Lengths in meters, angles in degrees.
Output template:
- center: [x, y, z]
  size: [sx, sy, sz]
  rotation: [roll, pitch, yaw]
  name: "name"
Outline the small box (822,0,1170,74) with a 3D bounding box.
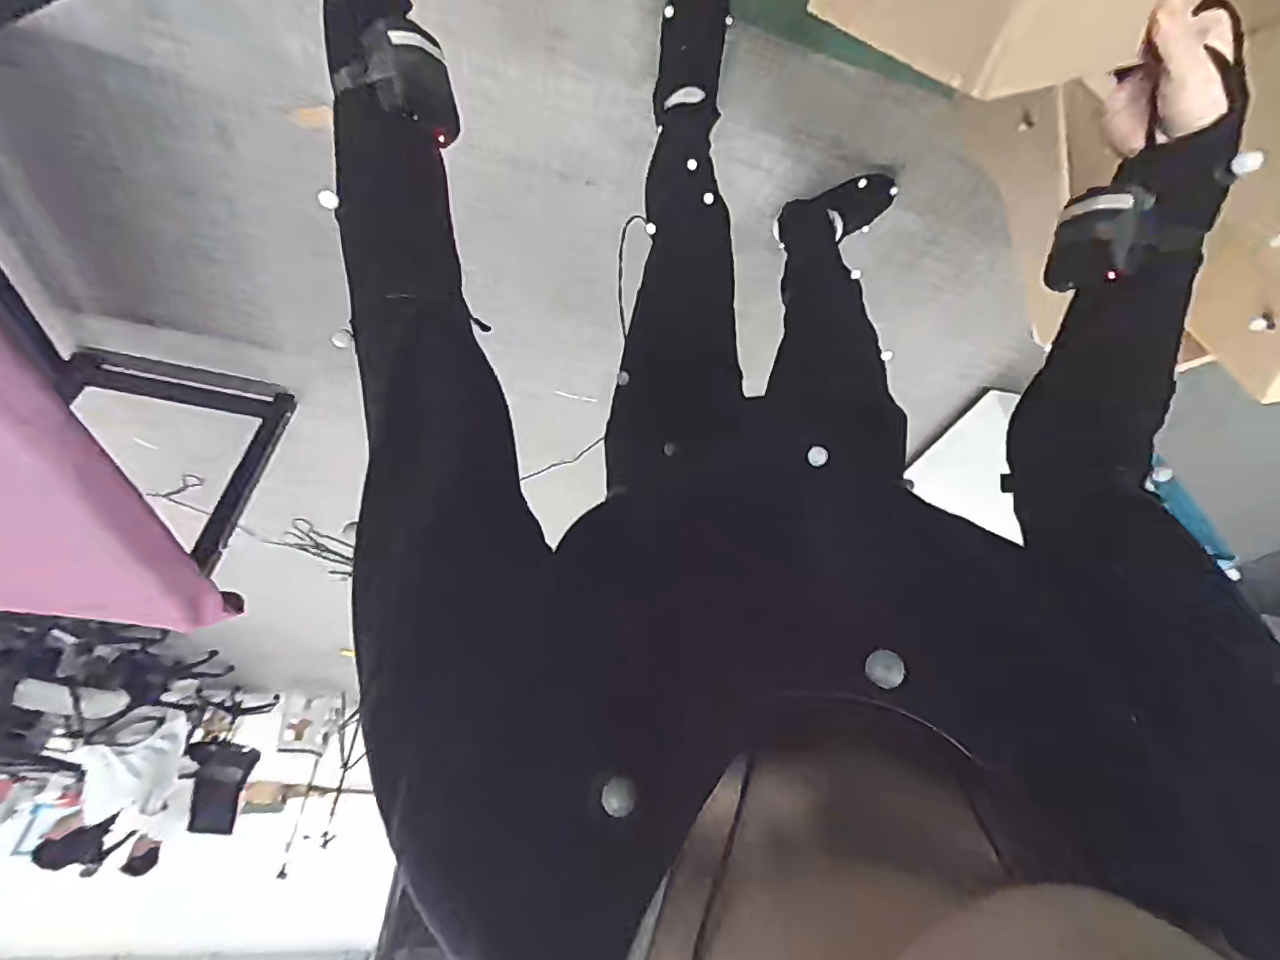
- center: [0.228, -0.372, 0.314]
  size: [0.179, 0.176, 0.168]
  rotation: [-22, 150, -16]
  name: "small box"
